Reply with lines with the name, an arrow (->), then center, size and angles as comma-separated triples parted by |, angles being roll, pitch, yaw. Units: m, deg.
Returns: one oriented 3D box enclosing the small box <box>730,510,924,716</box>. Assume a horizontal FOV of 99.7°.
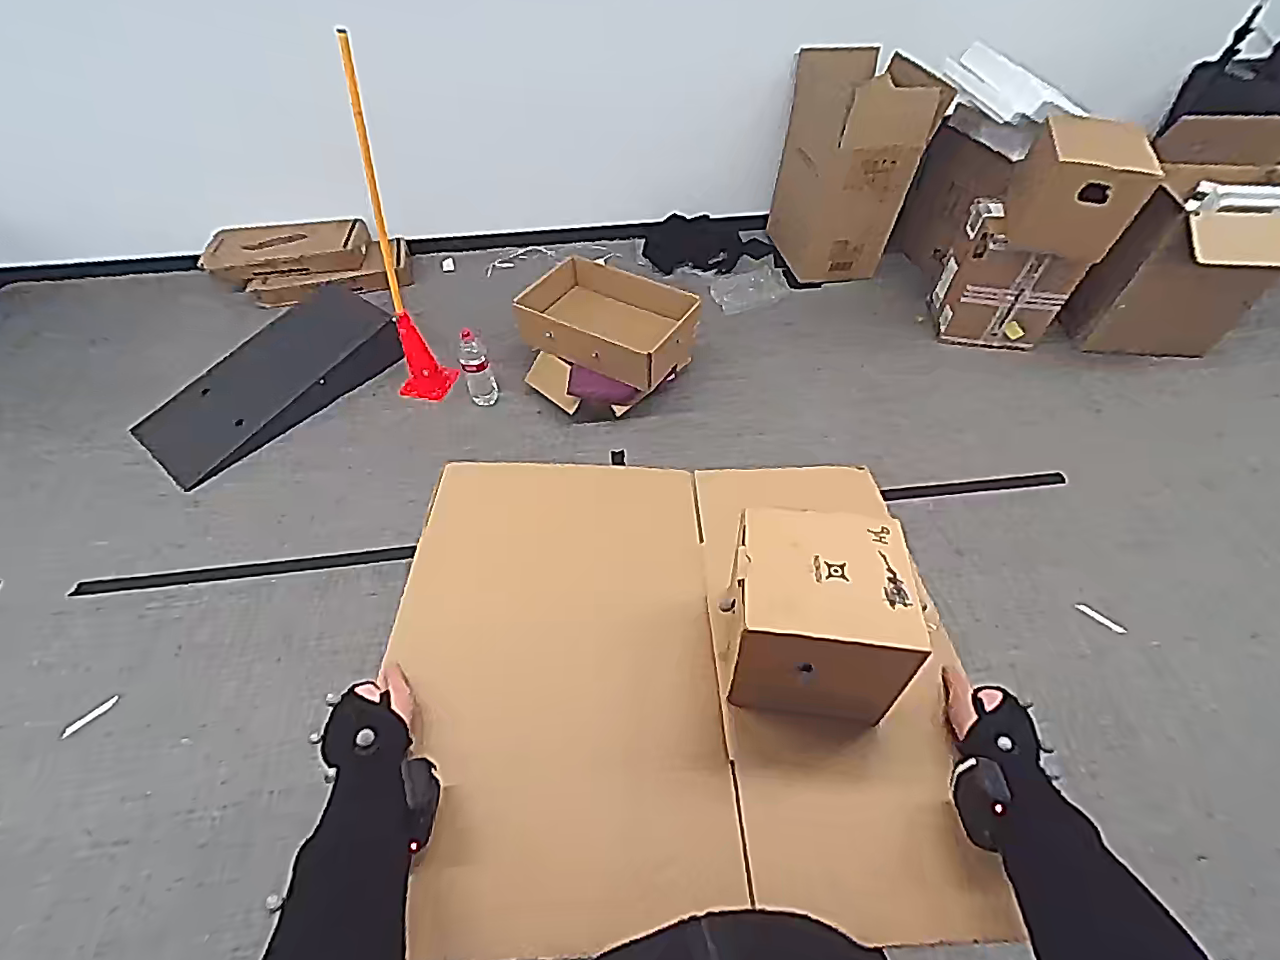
small box -> 0.198, 0.155, 0.629 | 0.179, 0.176, 0.168 | 4, 46, 7
